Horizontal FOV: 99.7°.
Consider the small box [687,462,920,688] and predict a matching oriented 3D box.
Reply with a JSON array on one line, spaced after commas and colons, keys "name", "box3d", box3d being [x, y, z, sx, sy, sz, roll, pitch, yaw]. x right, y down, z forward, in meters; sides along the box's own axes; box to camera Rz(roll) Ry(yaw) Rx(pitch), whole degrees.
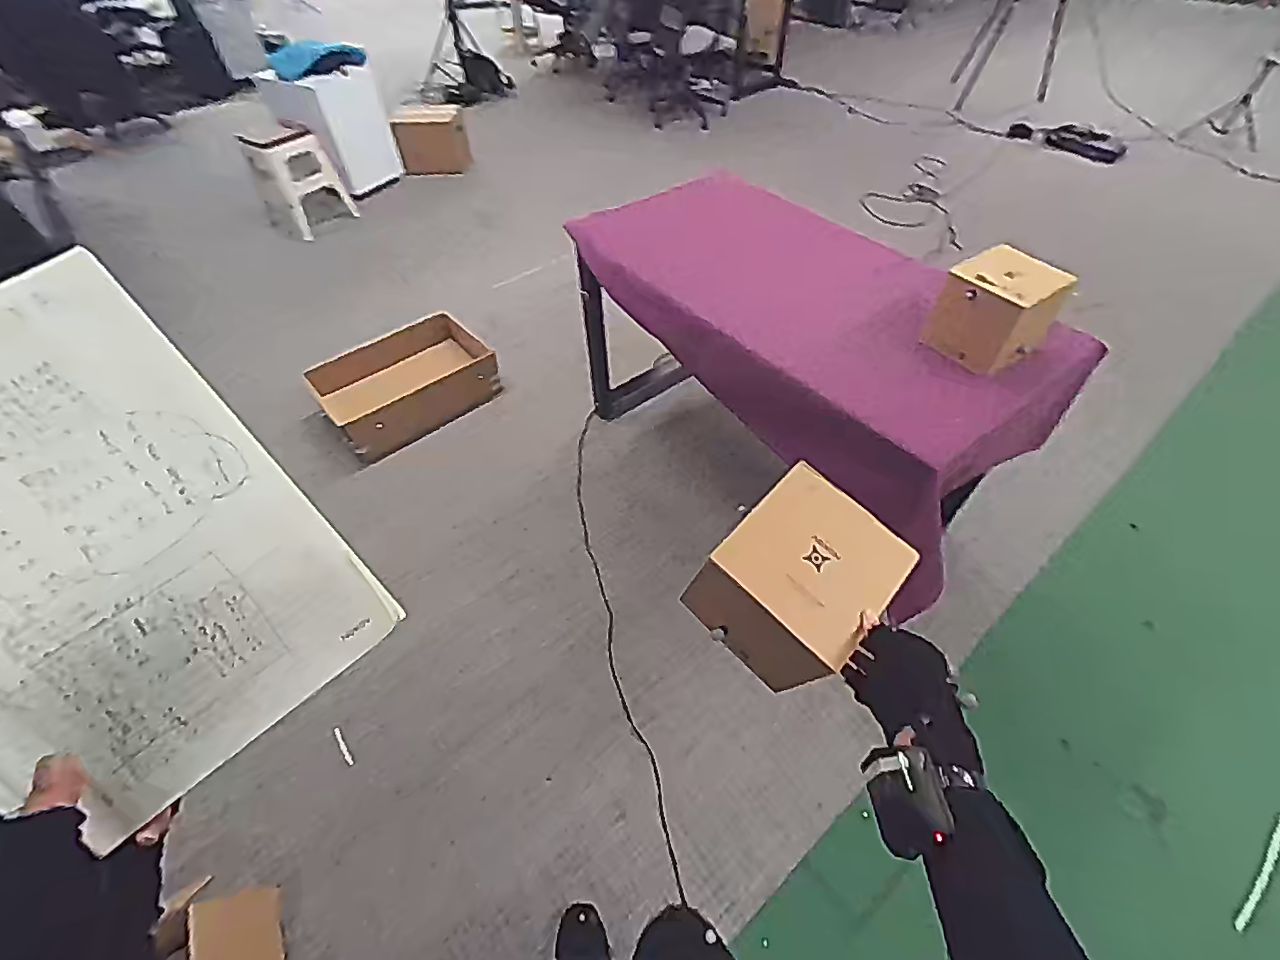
[{"name": "small box", "box3d": [0.177, 0.117, 0.636, 0.168, 0.176, 0.179, 43, 65, 14]}]

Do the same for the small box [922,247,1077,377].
[{"name": "small box", "box3d": [0.719, -0.341, 1.103, 0.179, 0.176, 0.168, -27, 54, -20]}]
